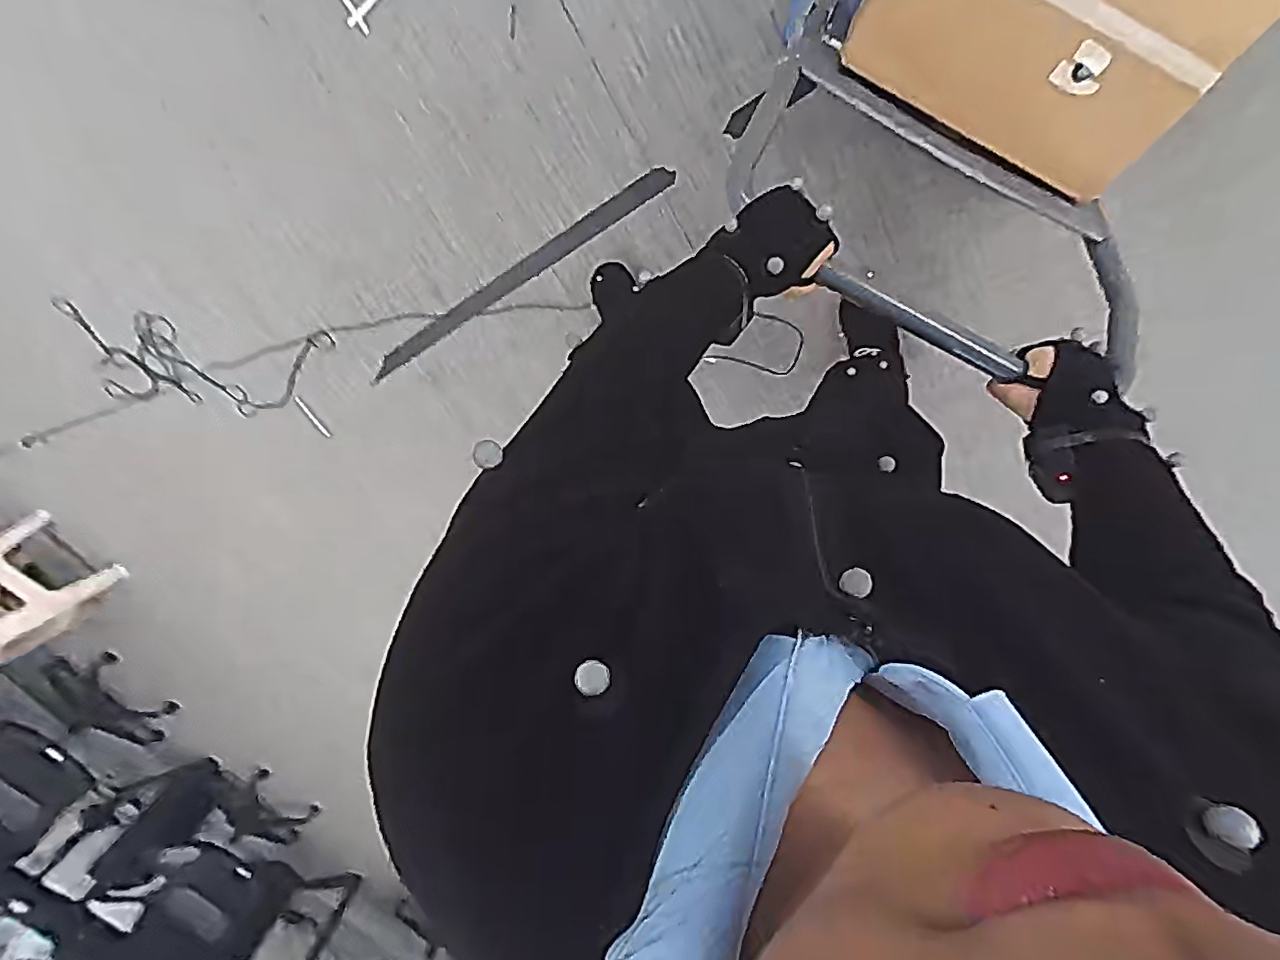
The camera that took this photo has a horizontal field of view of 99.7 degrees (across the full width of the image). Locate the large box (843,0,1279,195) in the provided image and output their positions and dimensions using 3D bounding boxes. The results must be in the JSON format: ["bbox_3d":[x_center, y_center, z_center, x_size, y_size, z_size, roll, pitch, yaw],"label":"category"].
[{"bbox_3d":[0.542,-0.675,0.733,0.408,0.320,0.320,26,141,-5],"label":"large box"}]
